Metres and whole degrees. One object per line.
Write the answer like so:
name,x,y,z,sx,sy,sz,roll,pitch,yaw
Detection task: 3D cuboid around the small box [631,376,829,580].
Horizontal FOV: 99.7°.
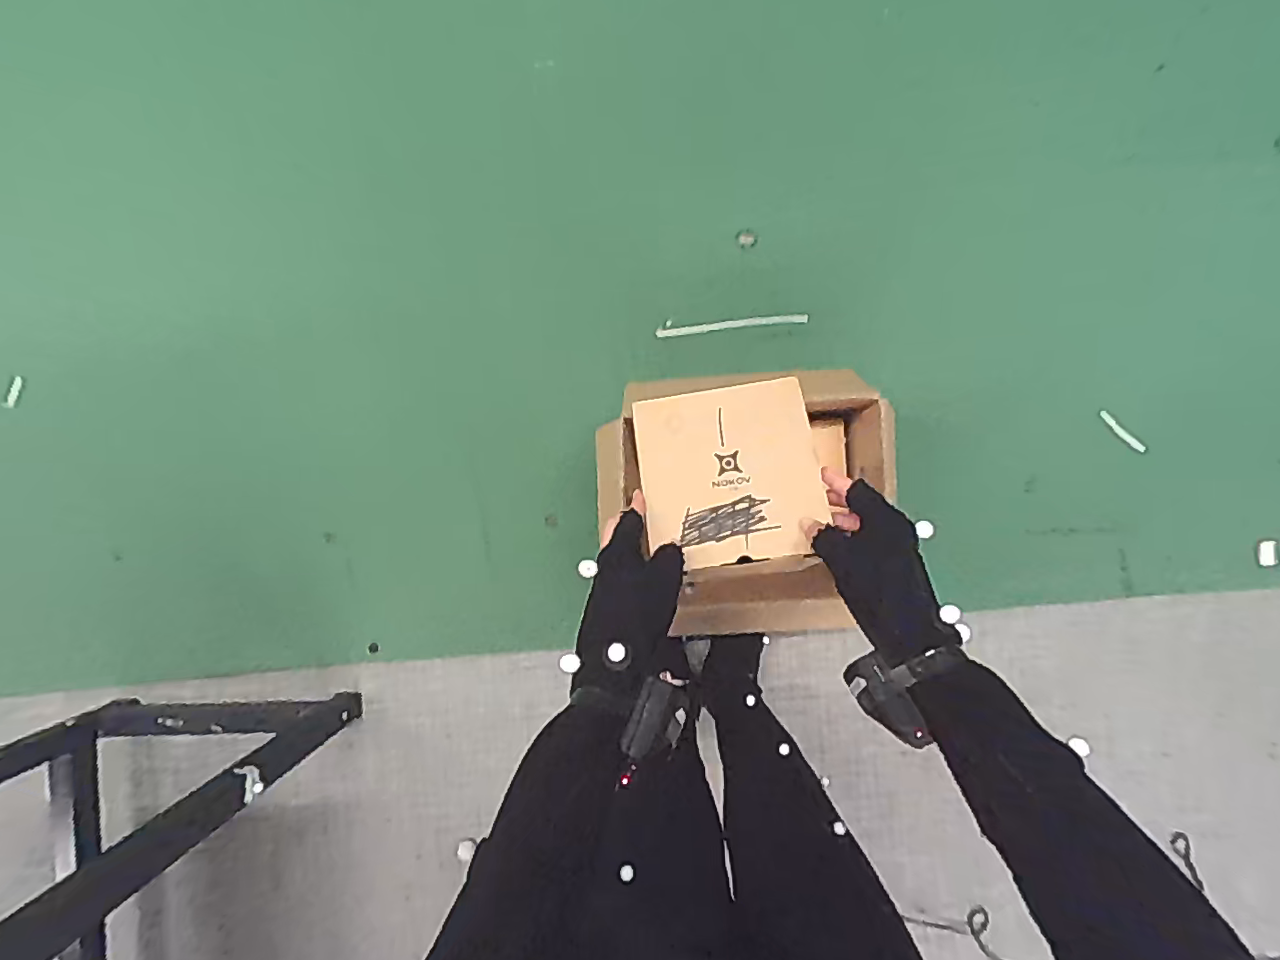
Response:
small box,0.089,0.012,0.578,0.168,0.176,0.179,-7,76,4
